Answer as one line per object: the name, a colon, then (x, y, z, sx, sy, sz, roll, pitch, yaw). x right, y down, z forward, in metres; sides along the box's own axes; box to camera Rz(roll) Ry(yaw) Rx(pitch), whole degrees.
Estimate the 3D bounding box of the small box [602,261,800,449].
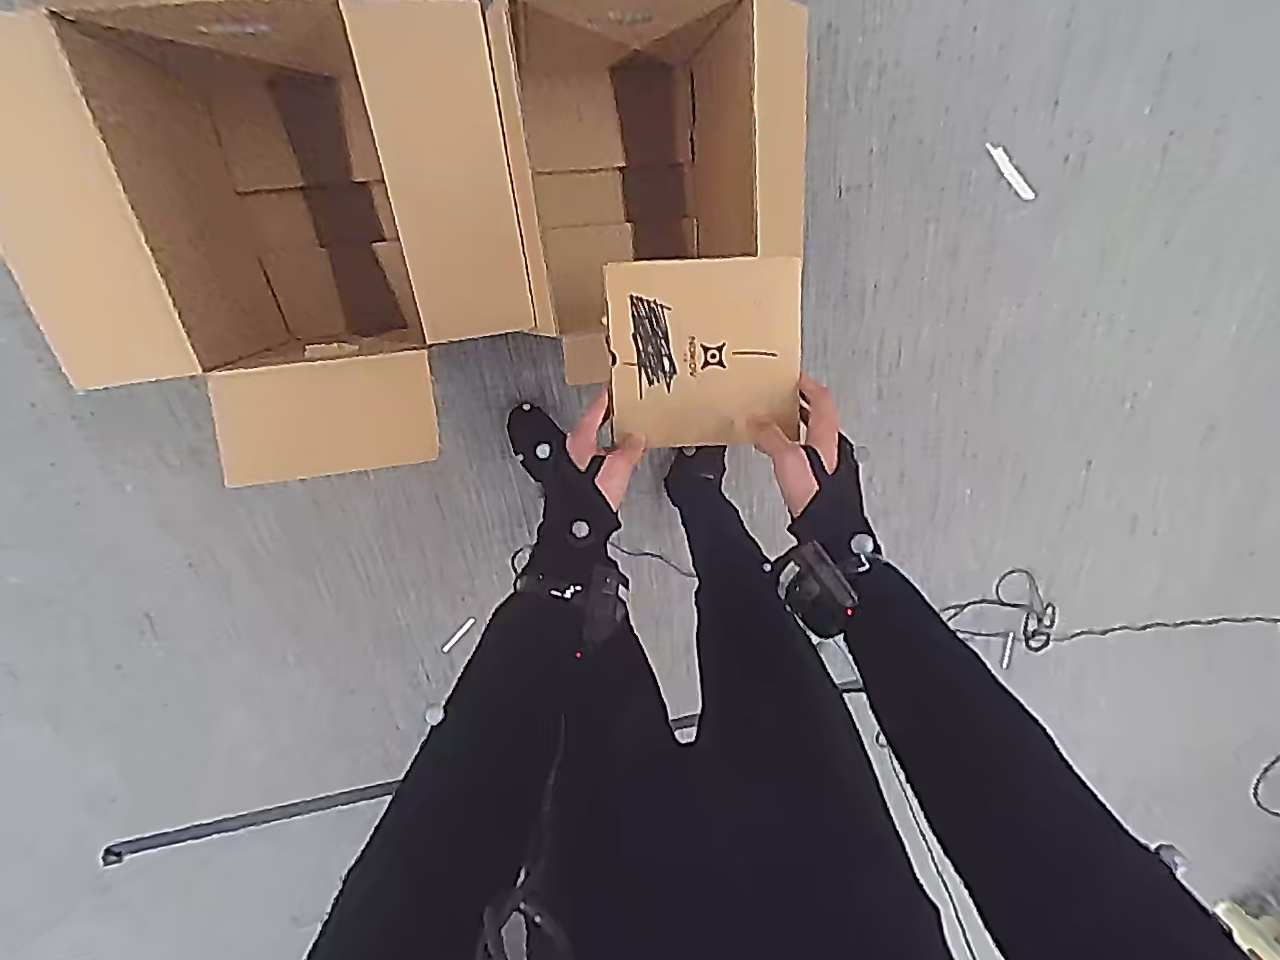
small box: (0.057, -0.123, 0.565, 0.179, 0.176, 0.168, -2, 100, 1)
